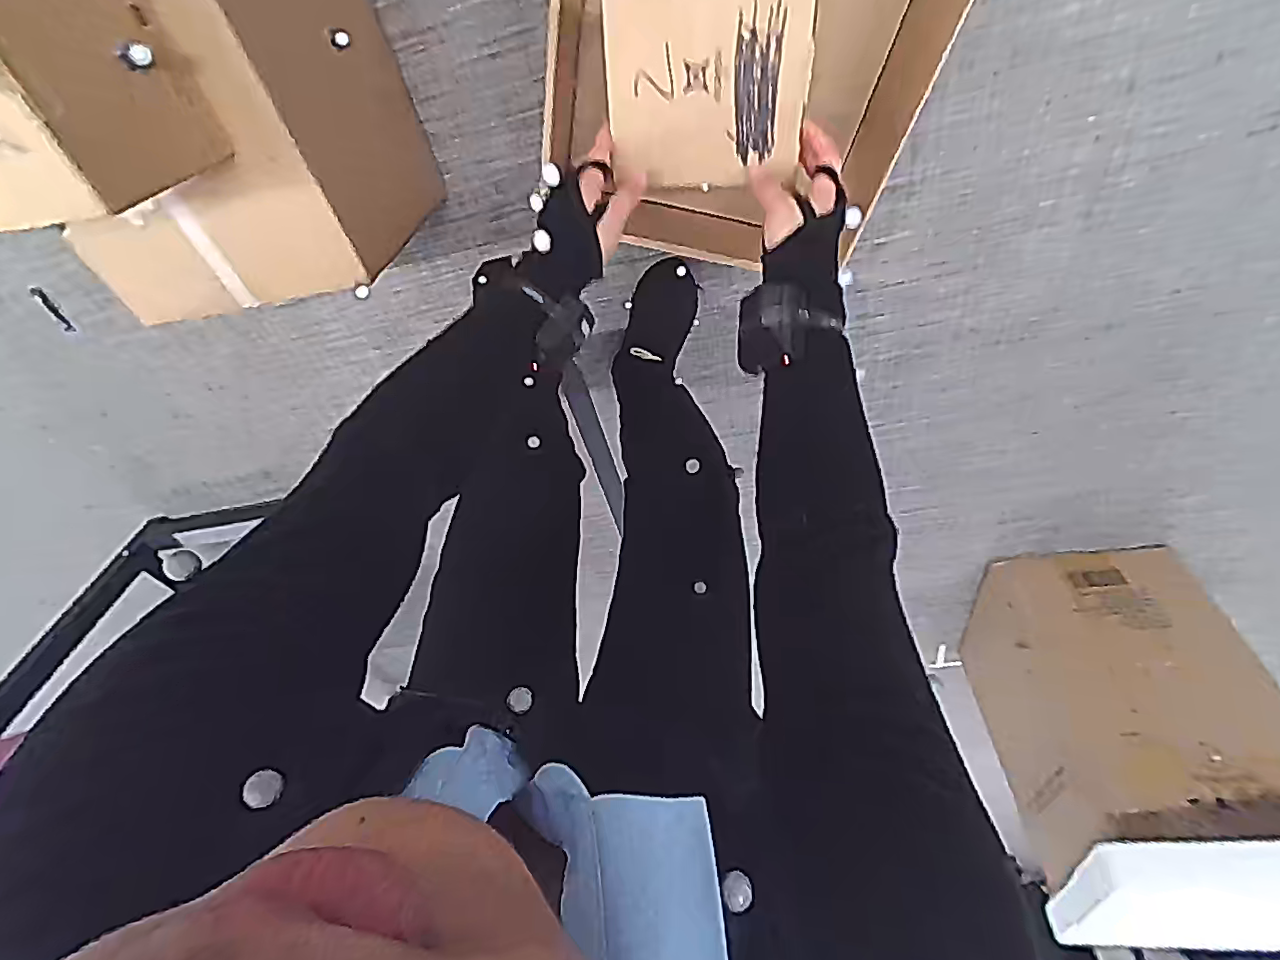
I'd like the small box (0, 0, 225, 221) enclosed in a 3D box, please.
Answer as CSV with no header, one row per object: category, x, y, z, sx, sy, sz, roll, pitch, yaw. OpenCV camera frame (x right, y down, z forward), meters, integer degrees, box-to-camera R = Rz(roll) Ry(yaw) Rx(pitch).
small box,-0.478,-0.309,0.405,0.179,0.176,0.168,-4,135,6

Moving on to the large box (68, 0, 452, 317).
large box,-0.473,-0.460,0.604,0.320,0.320,0.408,-6,135,11
